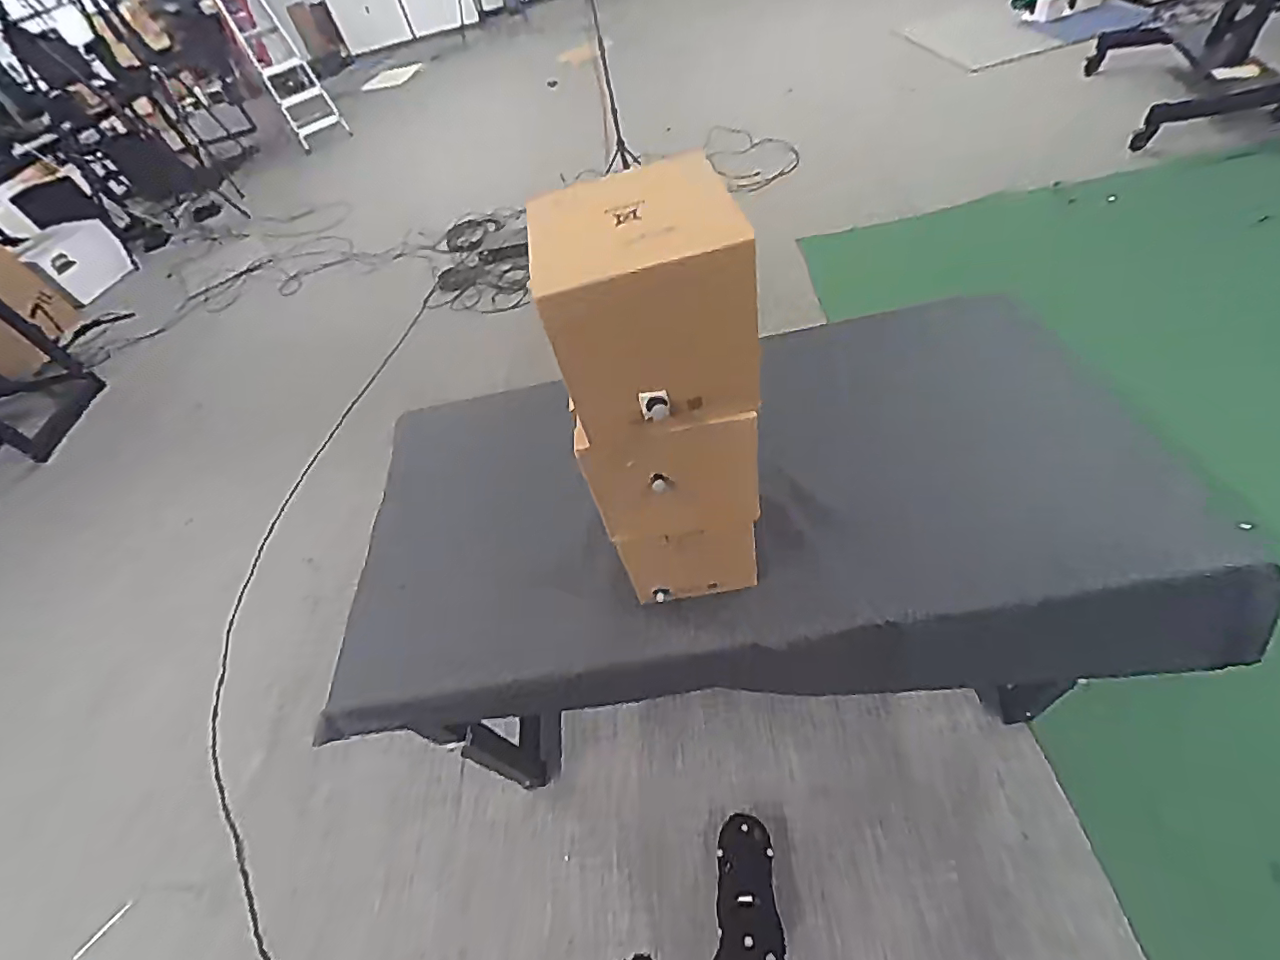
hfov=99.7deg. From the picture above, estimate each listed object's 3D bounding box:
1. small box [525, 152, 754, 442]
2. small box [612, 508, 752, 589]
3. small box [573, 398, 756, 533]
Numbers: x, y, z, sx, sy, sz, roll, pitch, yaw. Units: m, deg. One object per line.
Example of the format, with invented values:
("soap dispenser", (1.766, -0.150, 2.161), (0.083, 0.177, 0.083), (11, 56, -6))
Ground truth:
("small box", (0.001, -0.165, 0.503), (0.168, 0.176, 0.179), (-16, 51, 3))
("small box", (0.056, 0.037, 0.752), (0.168, 0.176, 0.179), (-11, 49, 5))
("small box", (0.029, -0.058, 0.626), (0.179, 0.176, 0.168), (-12, 48, 3))
